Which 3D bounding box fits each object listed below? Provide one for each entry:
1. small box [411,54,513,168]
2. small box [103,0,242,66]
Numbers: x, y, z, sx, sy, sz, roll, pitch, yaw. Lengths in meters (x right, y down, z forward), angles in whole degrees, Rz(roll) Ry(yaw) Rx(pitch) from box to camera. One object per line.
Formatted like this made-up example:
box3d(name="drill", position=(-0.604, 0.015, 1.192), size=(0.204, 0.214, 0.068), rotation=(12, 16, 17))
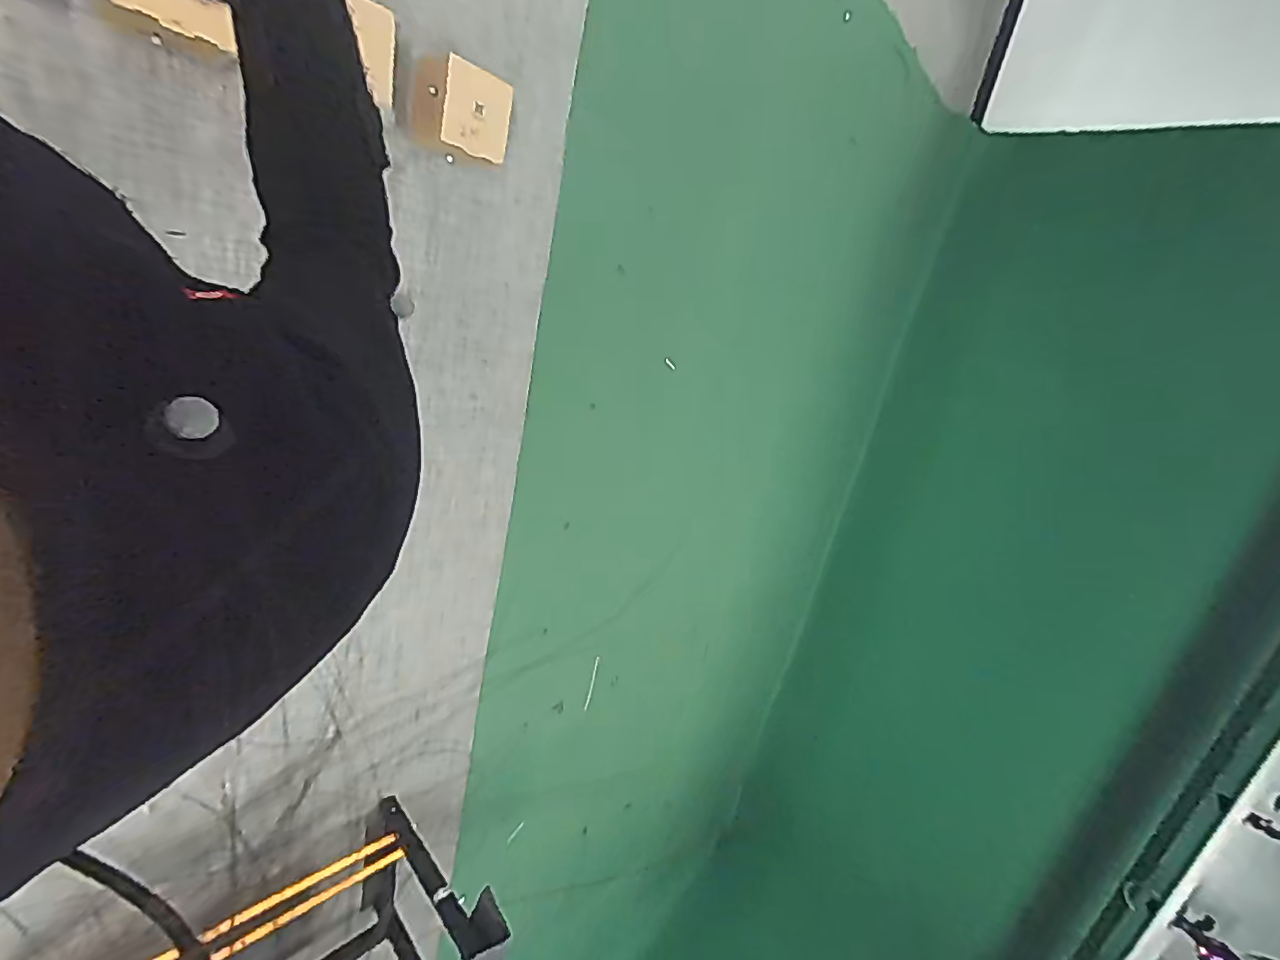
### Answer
box3d(name="small box", position=(-0.433, -0.878, 1.304), size=(0.168, 0.176, 0.179), rotation=(-4, 114, -47))
box3d(name="small box", position=(-0.794, -0.847, 0.916), size=(0.168, 0.176, 0.179), rotation=(-4, 114, -47))
